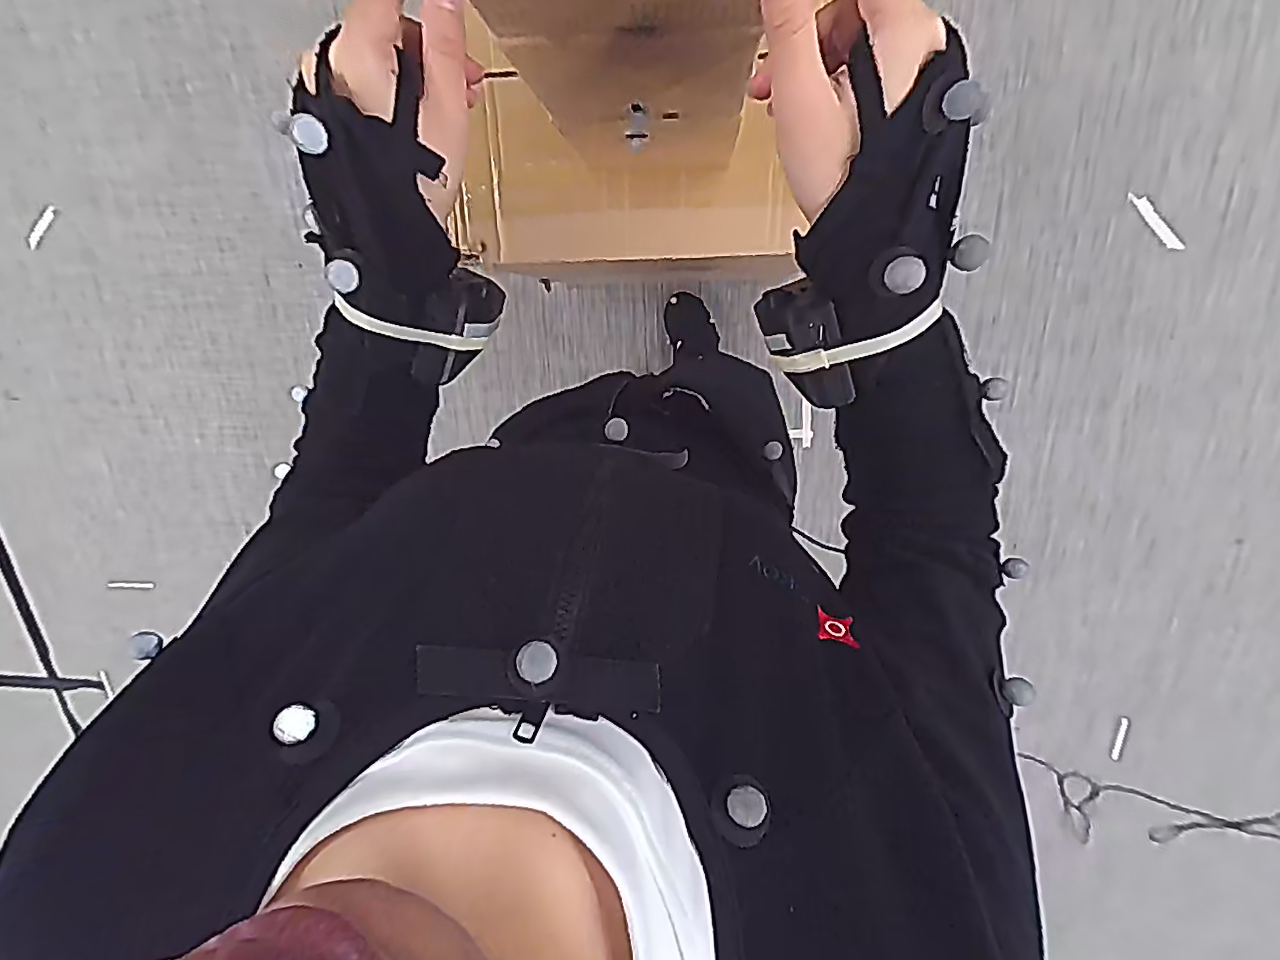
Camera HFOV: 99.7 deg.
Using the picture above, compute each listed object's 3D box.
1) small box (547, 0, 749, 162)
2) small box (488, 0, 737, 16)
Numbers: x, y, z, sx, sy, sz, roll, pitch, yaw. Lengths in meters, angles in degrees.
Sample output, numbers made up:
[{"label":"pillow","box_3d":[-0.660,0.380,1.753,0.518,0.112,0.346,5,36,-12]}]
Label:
[{"label":"small box","box_3d":[0.013,-0.427,0.533,0.179,0.176,0.168,2,108,5]},{"label":"small box","box_3d":[-0.012,-0.329,0.219,0.179,0.176,0.168,1,108,5]}]
